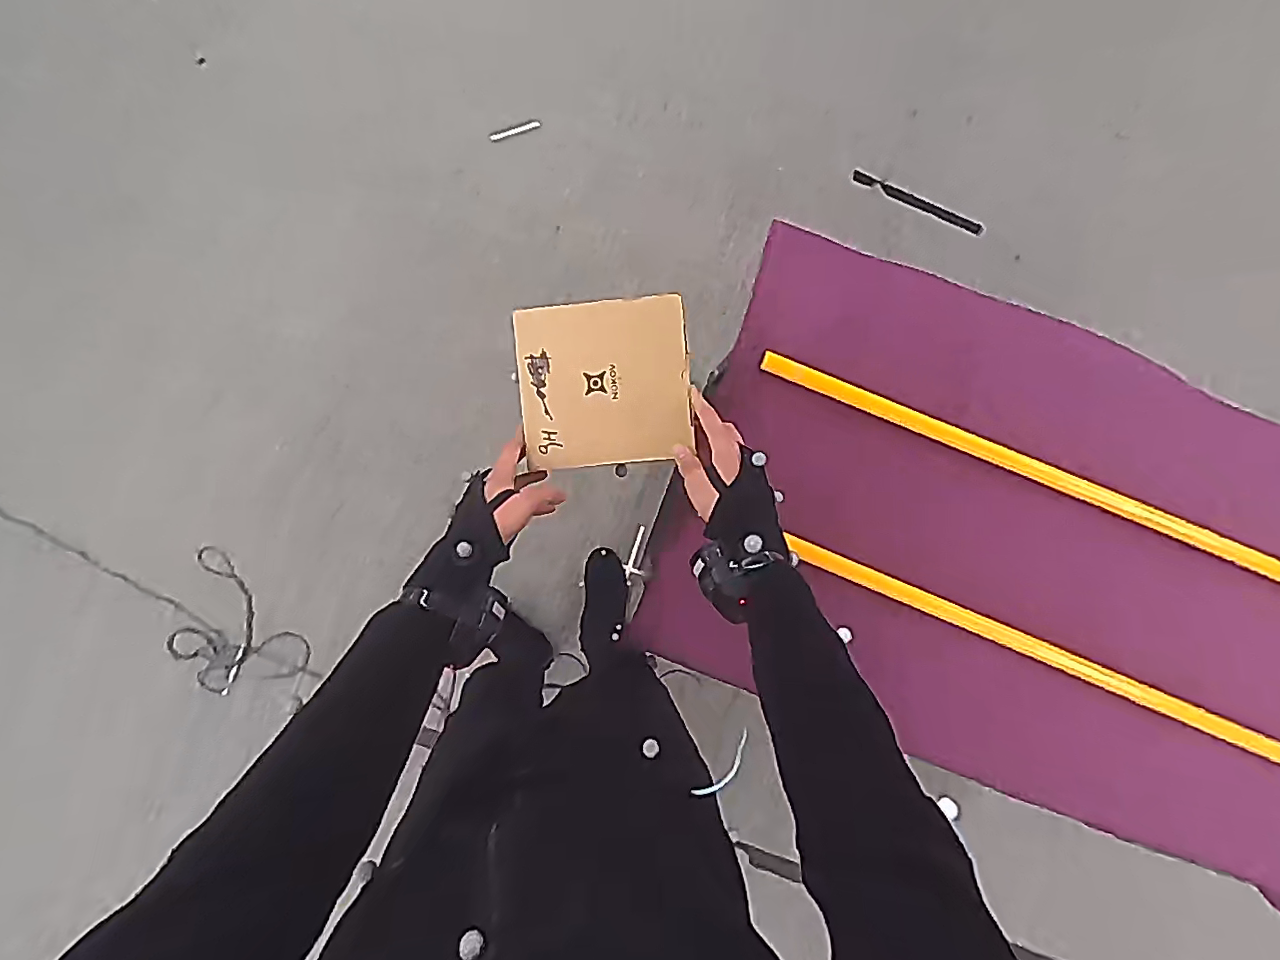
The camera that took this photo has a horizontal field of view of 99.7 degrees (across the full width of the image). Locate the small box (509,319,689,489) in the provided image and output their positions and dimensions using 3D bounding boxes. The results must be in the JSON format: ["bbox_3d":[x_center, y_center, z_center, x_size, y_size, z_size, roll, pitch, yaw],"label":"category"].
[{"bbox_3d":[-0.041,-0.083,0.633,0.179,0.176,0.168,-5,93,2],"label":"small box"}]
